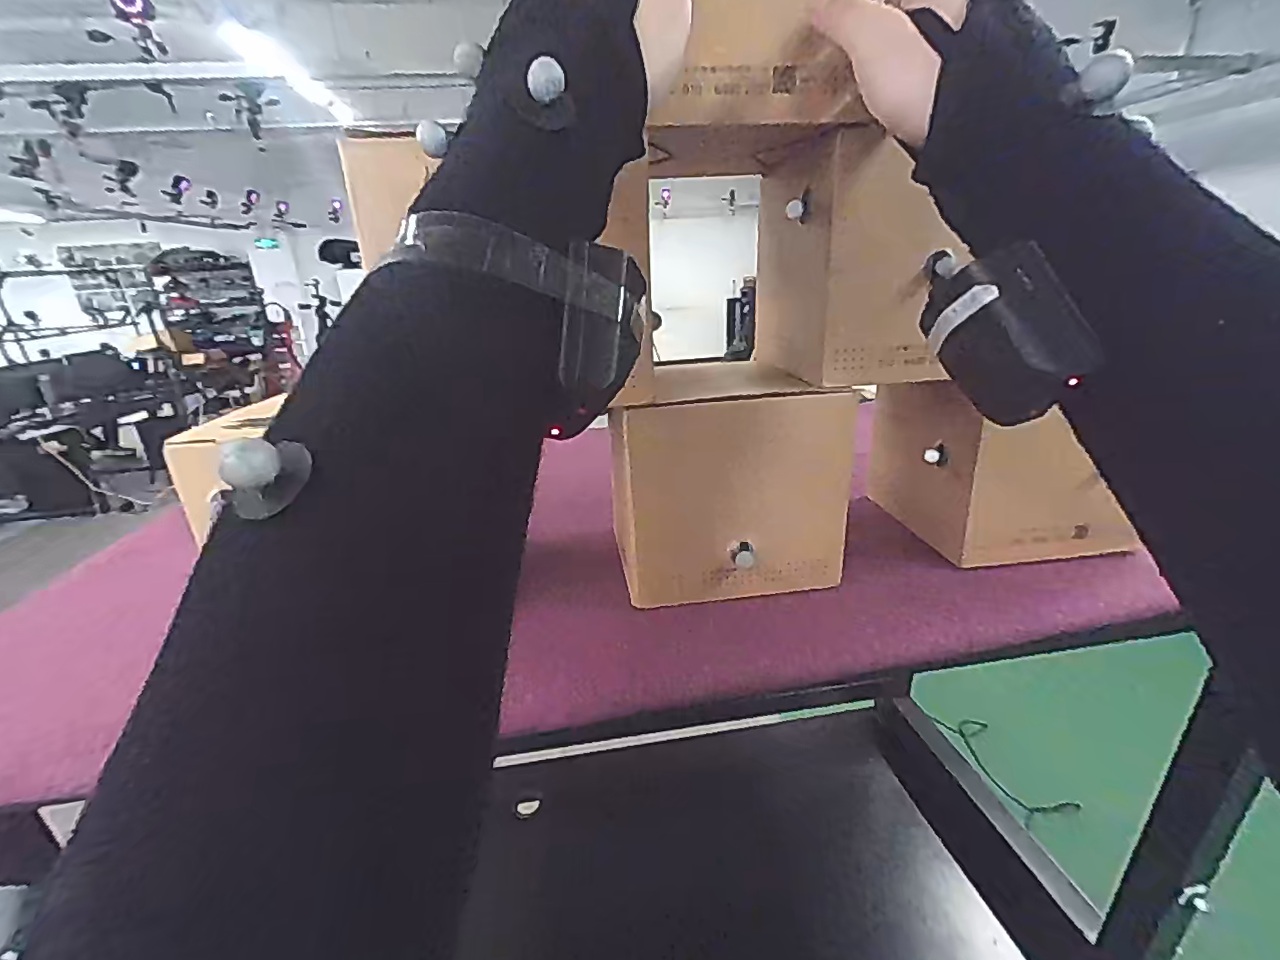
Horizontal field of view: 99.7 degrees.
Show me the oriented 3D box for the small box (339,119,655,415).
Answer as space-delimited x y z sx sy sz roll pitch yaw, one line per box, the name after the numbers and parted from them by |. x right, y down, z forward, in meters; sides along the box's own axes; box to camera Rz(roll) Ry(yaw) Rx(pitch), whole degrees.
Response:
-0.087 -0.148 0.408 0.179 0.176 0.168 -4 20 -5 | small box

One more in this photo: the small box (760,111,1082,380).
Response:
0.202 -0.178 0.446 0.168 0.176 0.179 -4 20 -3 | small box

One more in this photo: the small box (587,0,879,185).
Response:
0.053 -0.317 0.375 0.168 0.176 0.179 -6 19 -6 | small box

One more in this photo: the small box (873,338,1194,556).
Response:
0.342 -0.035 0.513 0.168 0.176 0.179 -4 19 -3 | small box
